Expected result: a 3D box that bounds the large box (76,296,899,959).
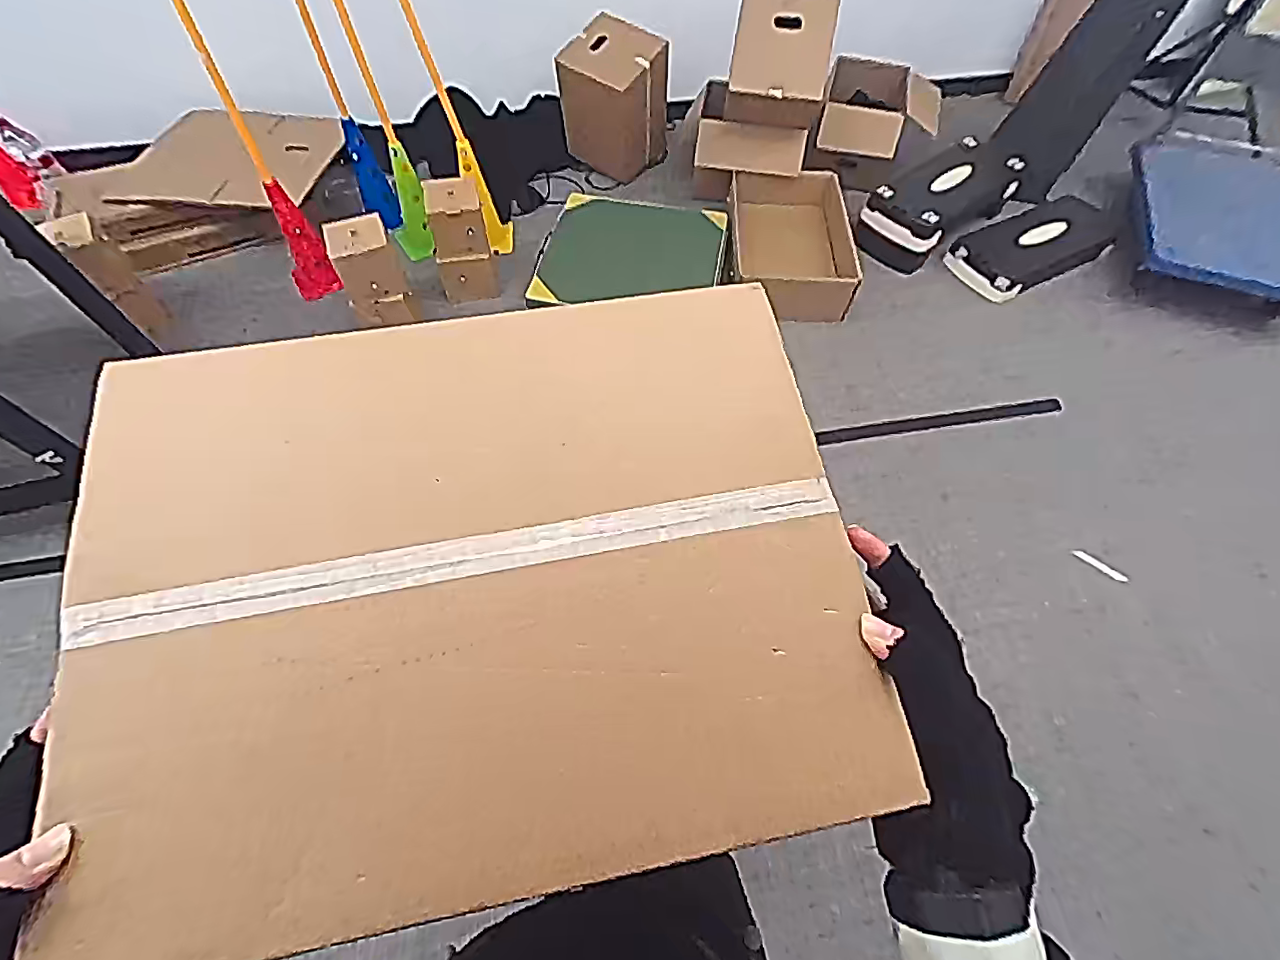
[{"bbox_3d":[-0.093,0.097,0.448,0.408,0.320,0.320,-10,71,-6],"label":"large box"}]
